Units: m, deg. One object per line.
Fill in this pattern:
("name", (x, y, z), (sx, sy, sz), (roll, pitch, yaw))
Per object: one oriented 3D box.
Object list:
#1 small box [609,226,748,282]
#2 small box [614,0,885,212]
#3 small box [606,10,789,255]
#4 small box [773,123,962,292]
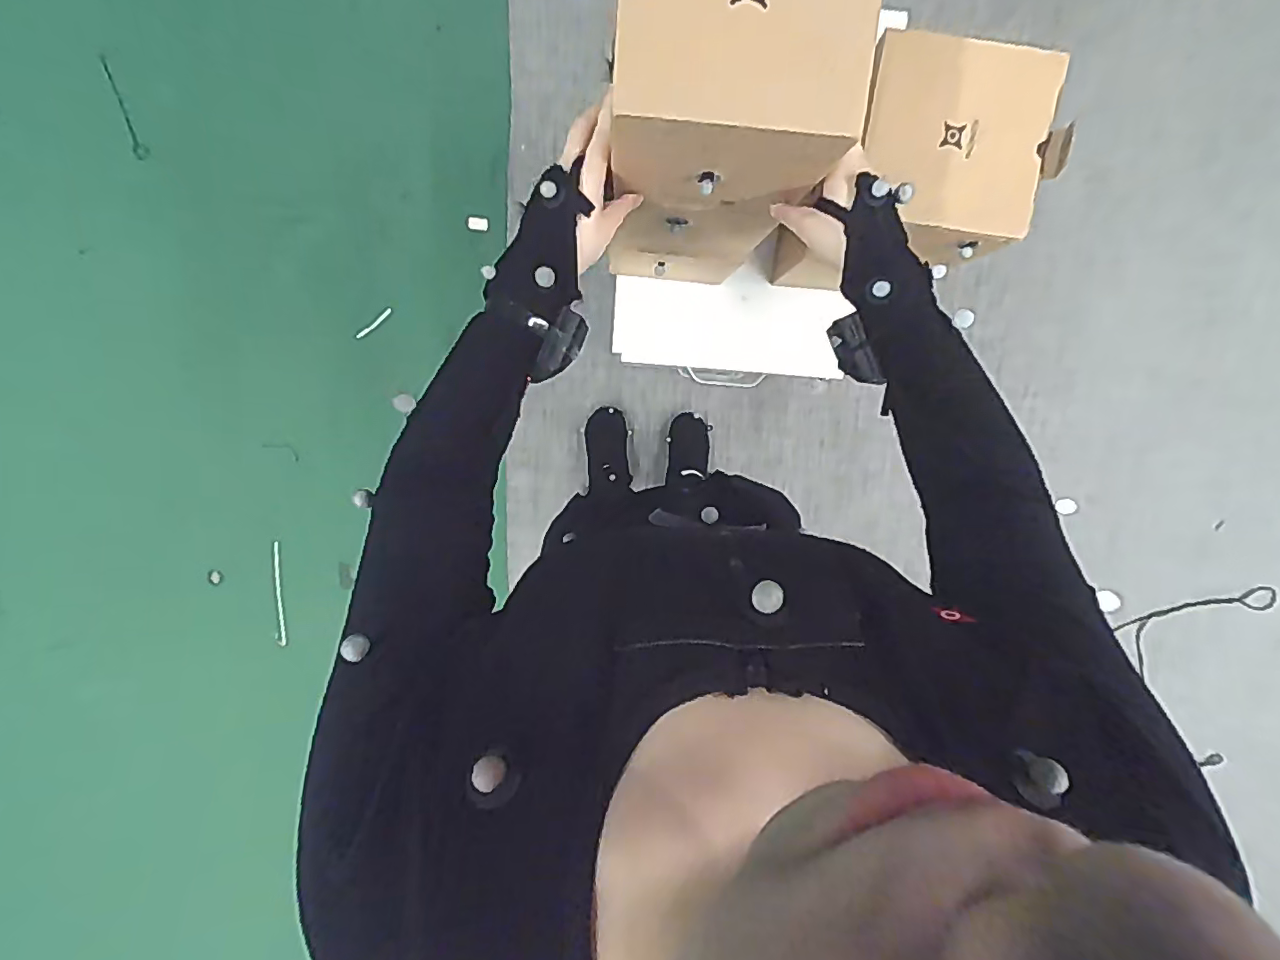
("small box", (0.053, -0.374, 0.737), (0.179, 0.176, 0.168), (4, 101, -3))
("small box", (0.069, -0.323, 0.412), (0.168, 0.176, 0.179), (4, 100, -4))
("small box", (0.058, -0.348, 0.575), (0.179, 0.176, 0.168), (4, 100, -4))
("small box", (0.299, -0.362, 0.747), (0.179, 0.176, 0.168), (5, 100, 0))
